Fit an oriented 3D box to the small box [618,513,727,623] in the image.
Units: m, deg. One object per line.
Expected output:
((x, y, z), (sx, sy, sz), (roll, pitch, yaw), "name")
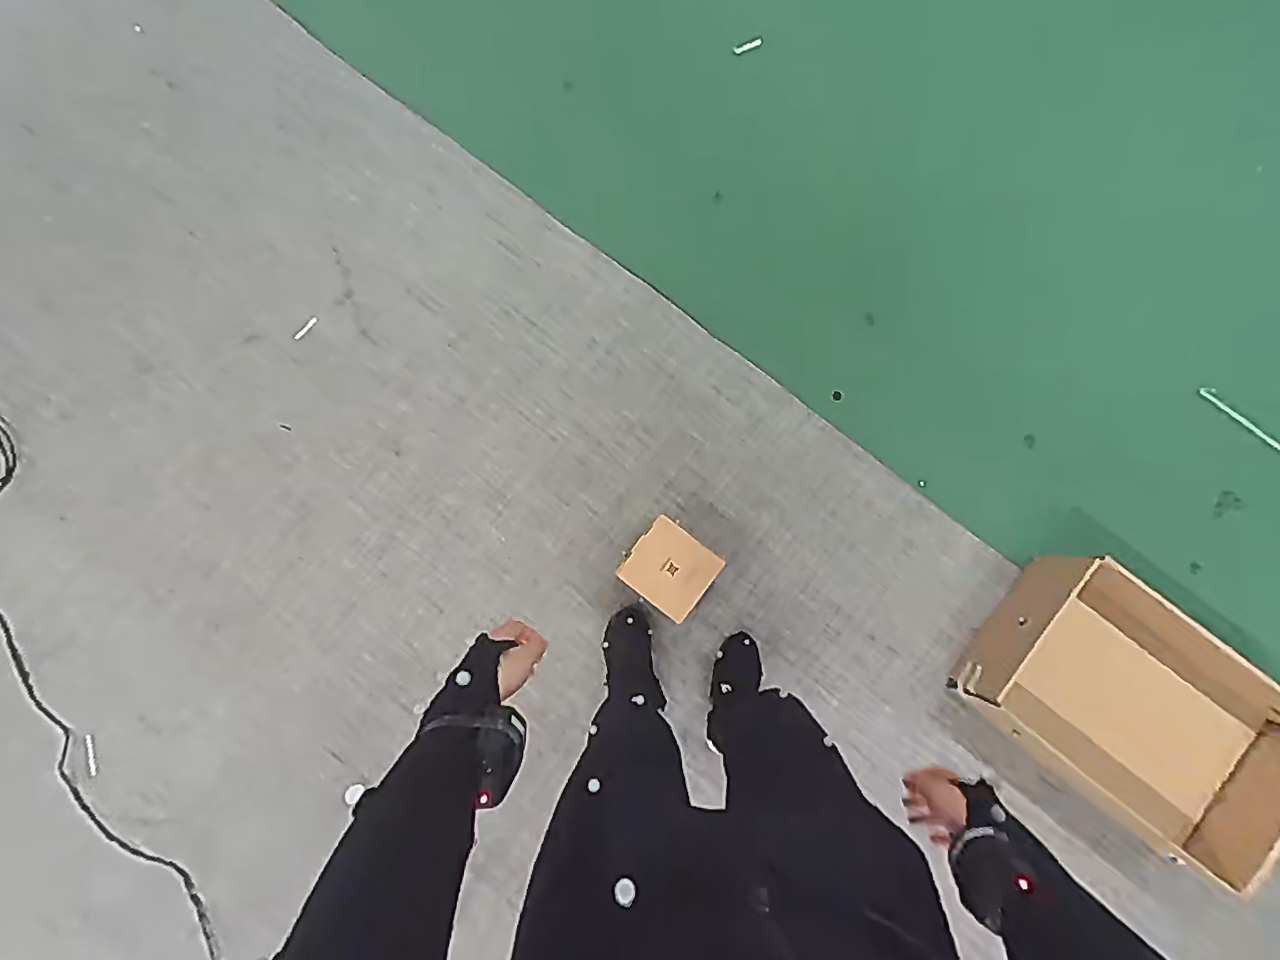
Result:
((0.066, 0.190, 1.209), (0.179, 0.176, 0.168), (37, 86, 1), "small box")
